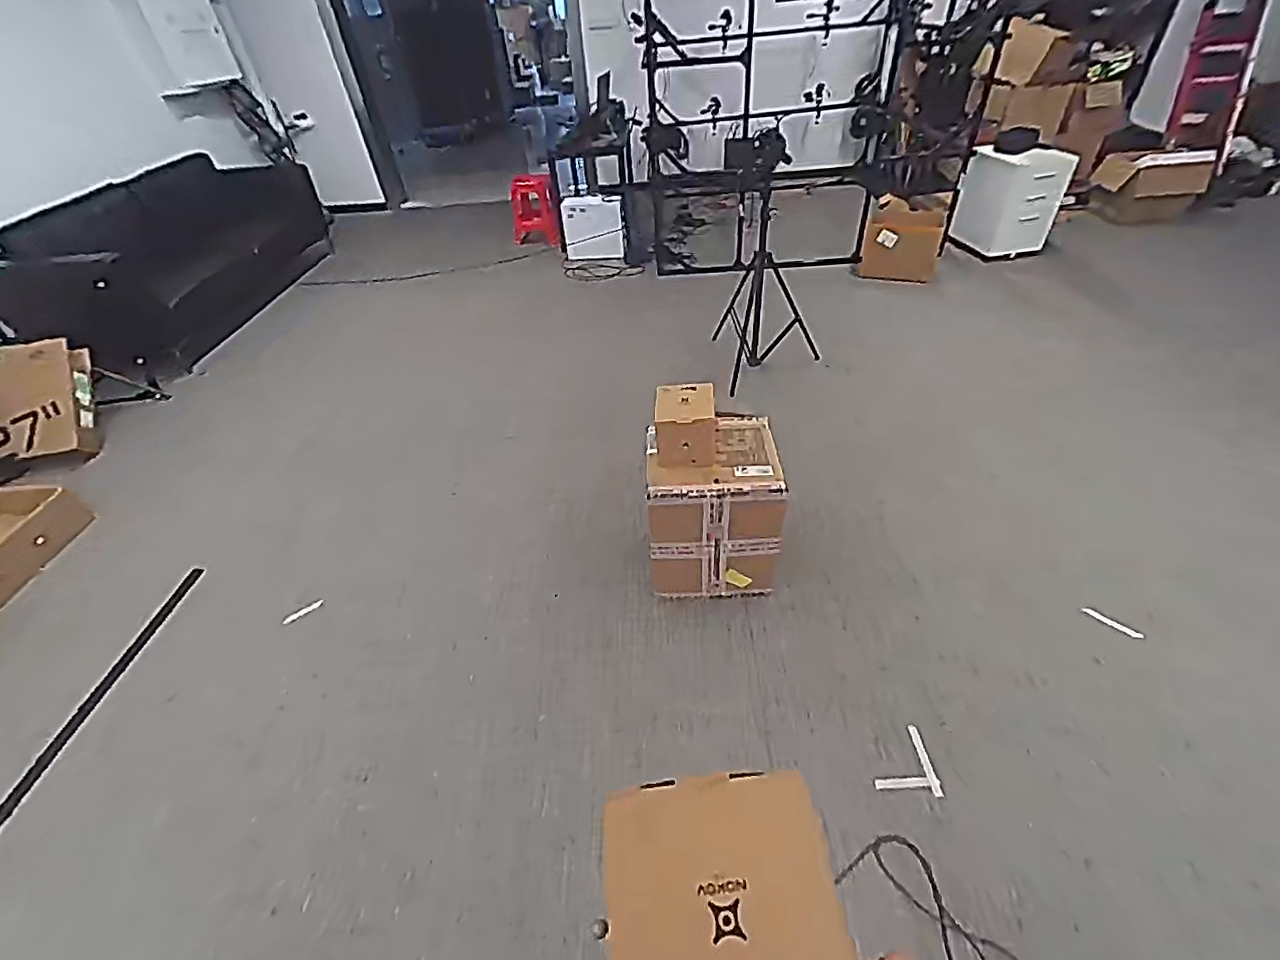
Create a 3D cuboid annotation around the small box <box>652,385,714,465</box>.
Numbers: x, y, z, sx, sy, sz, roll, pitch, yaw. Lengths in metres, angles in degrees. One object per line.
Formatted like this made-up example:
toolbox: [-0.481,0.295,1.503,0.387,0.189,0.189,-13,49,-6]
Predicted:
small box: [0.129,-0.154,1.571,0.168,0.176,0.179,-2,44,7]
